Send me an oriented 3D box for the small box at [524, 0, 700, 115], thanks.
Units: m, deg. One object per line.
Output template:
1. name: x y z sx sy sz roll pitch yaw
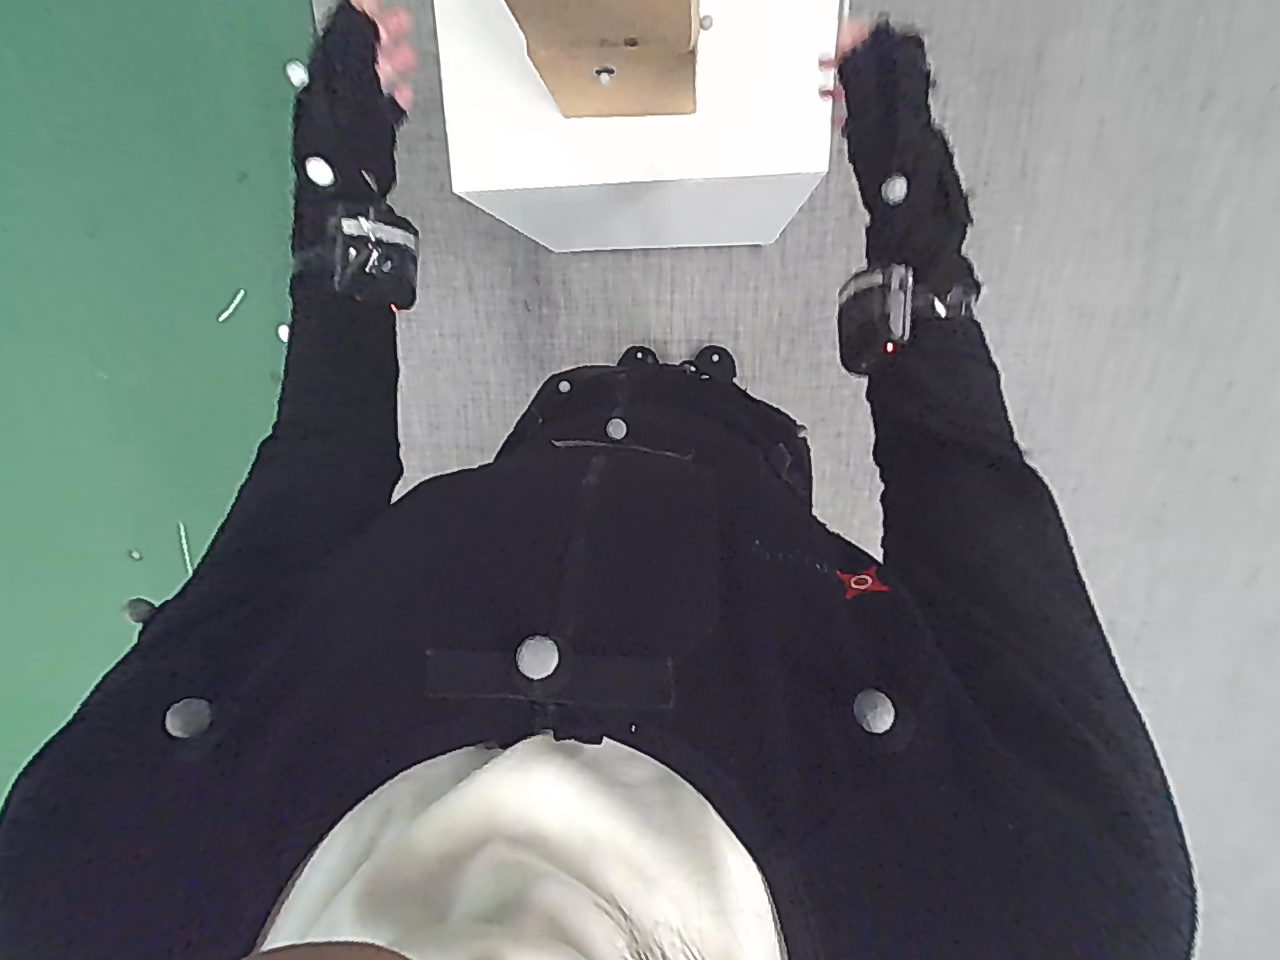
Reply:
1. small box: -0.023 -0.537 0.611 0.179 0.176 0.168 2 104 5

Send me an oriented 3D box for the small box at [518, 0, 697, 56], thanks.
1. small box: -0.033 -0.501 0.455 0.168 0.176 0.179 1 105 5
